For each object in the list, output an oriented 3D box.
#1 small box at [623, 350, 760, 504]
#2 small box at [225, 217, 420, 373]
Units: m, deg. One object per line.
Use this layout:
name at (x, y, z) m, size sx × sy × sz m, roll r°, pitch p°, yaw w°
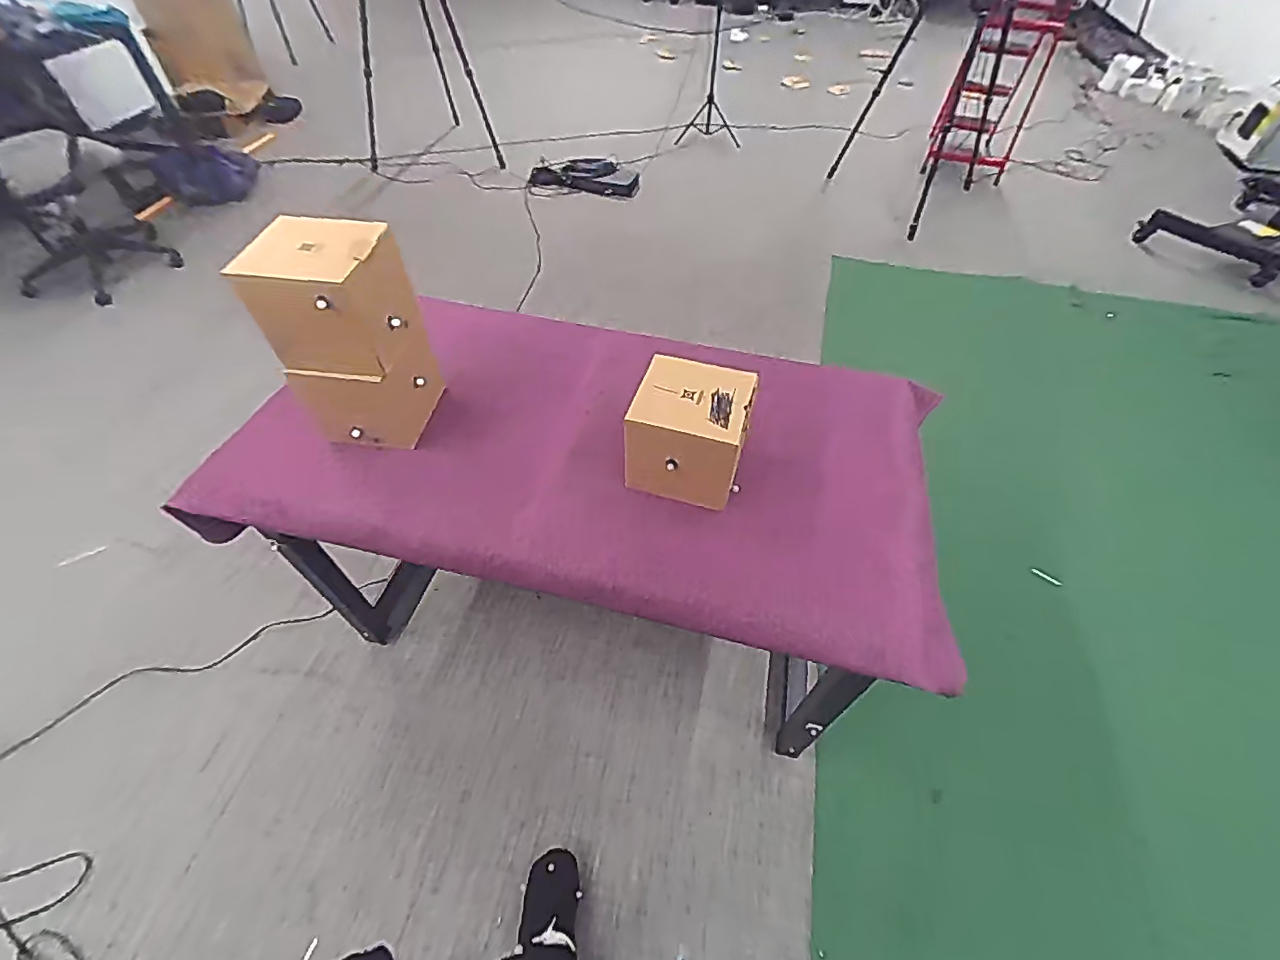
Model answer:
small box at (0.081, -0.084, 0.896) m, size 0.179 × 0.176 × 0.168 m, roll 17°, pitch 51°, yaw 12°
small box at (-0.476, -0.286, 0.844) m, size 0.179 × 0.176 × 0.168 m, roll 5°, pitch 52°, yaw 3°
